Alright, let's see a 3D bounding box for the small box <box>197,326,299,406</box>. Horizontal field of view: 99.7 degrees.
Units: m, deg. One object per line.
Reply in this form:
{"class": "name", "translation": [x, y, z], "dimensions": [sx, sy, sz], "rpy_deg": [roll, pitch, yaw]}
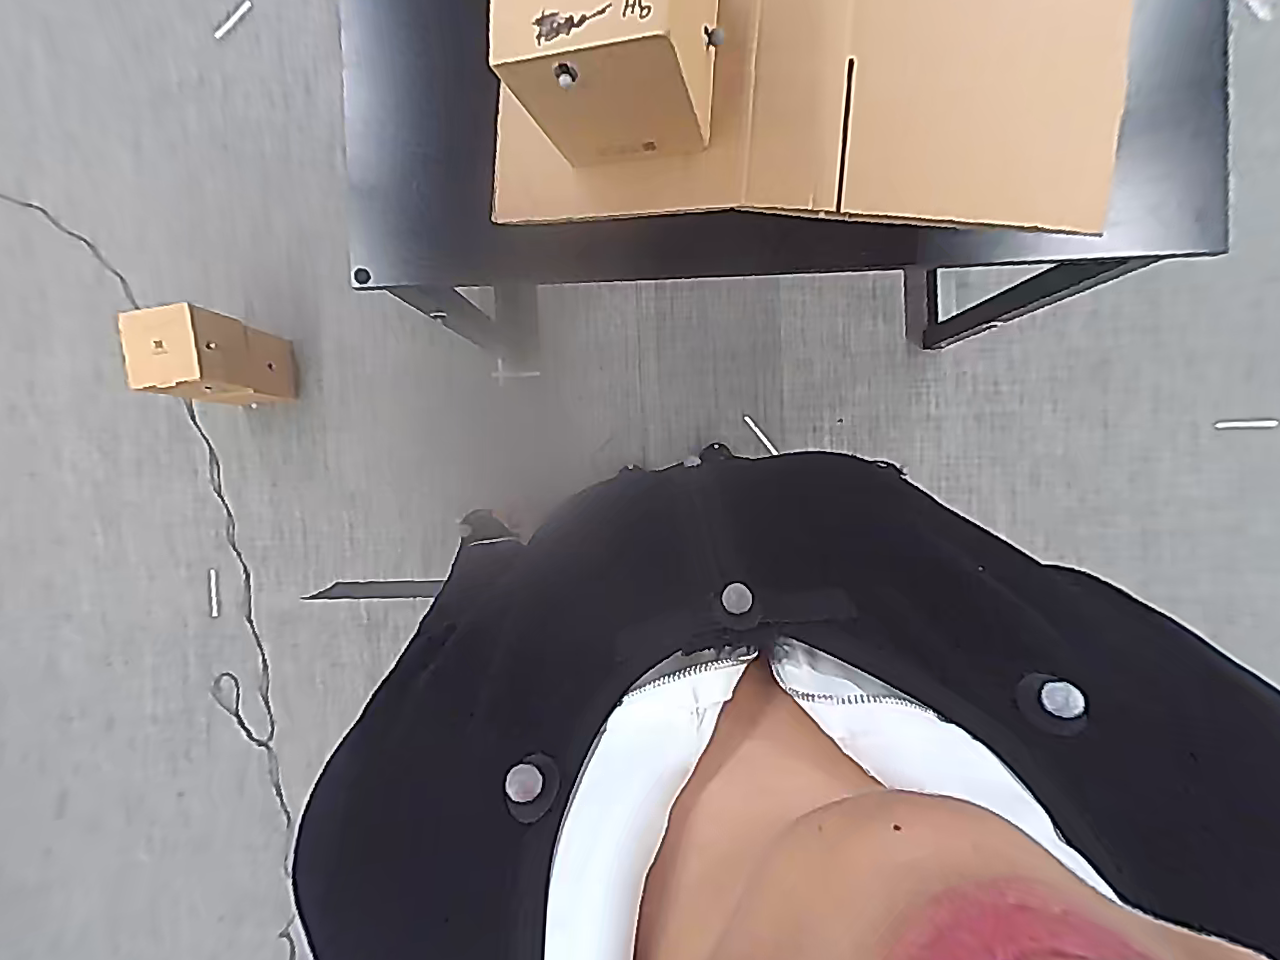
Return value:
{"class": "small box", "translation": [-1.055, -0.300, 1.455], "dimensions": [0.168, 0.176, 0.179], "rpy_deg": [-5, 92, 3]}

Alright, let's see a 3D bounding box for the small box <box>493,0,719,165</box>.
{"class": "small box", "translation": [-0.021, -0.444, 0.524], "dimensions": [0.168, 0.176, 0.179], "rpy_deg": [4, 92, 18]}

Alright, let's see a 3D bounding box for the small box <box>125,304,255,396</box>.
{"class": "small box", "translation": [-1.063, -0.301, 1.292], "dimensions": [0.168, 0.176, 0.179], "rpy_deg": [-8, 90, 2]}
